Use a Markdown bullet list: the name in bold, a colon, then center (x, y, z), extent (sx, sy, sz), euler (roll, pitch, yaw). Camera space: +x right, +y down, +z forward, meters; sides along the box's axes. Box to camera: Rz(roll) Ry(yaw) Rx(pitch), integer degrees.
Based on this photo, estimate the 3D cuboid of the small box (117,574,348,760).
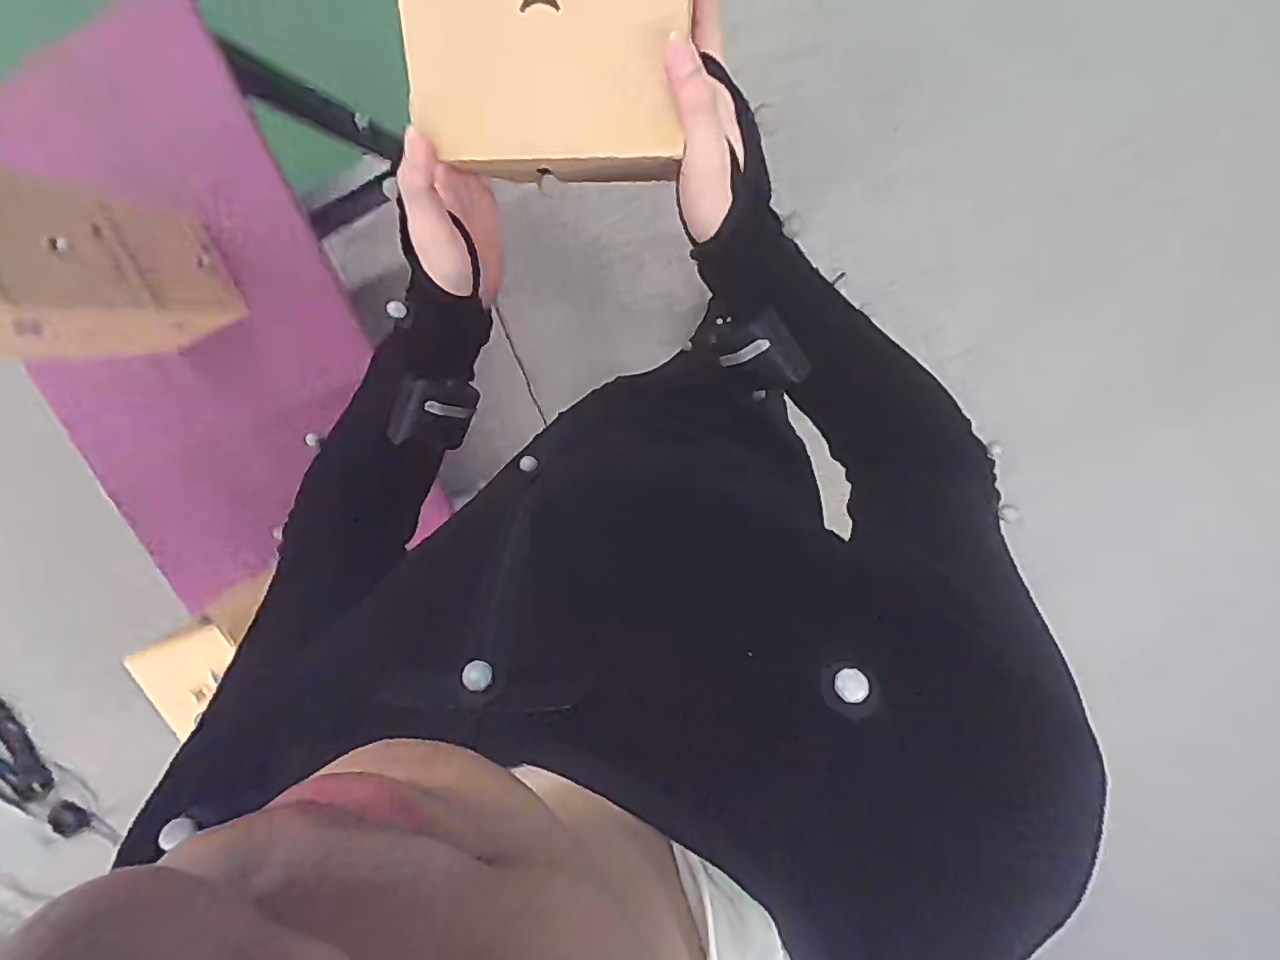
- **small box**: center (-0.558, 0.258, 0.774), extent (0.179, 0.176, 0.168), euler (-20, 105, 13)
